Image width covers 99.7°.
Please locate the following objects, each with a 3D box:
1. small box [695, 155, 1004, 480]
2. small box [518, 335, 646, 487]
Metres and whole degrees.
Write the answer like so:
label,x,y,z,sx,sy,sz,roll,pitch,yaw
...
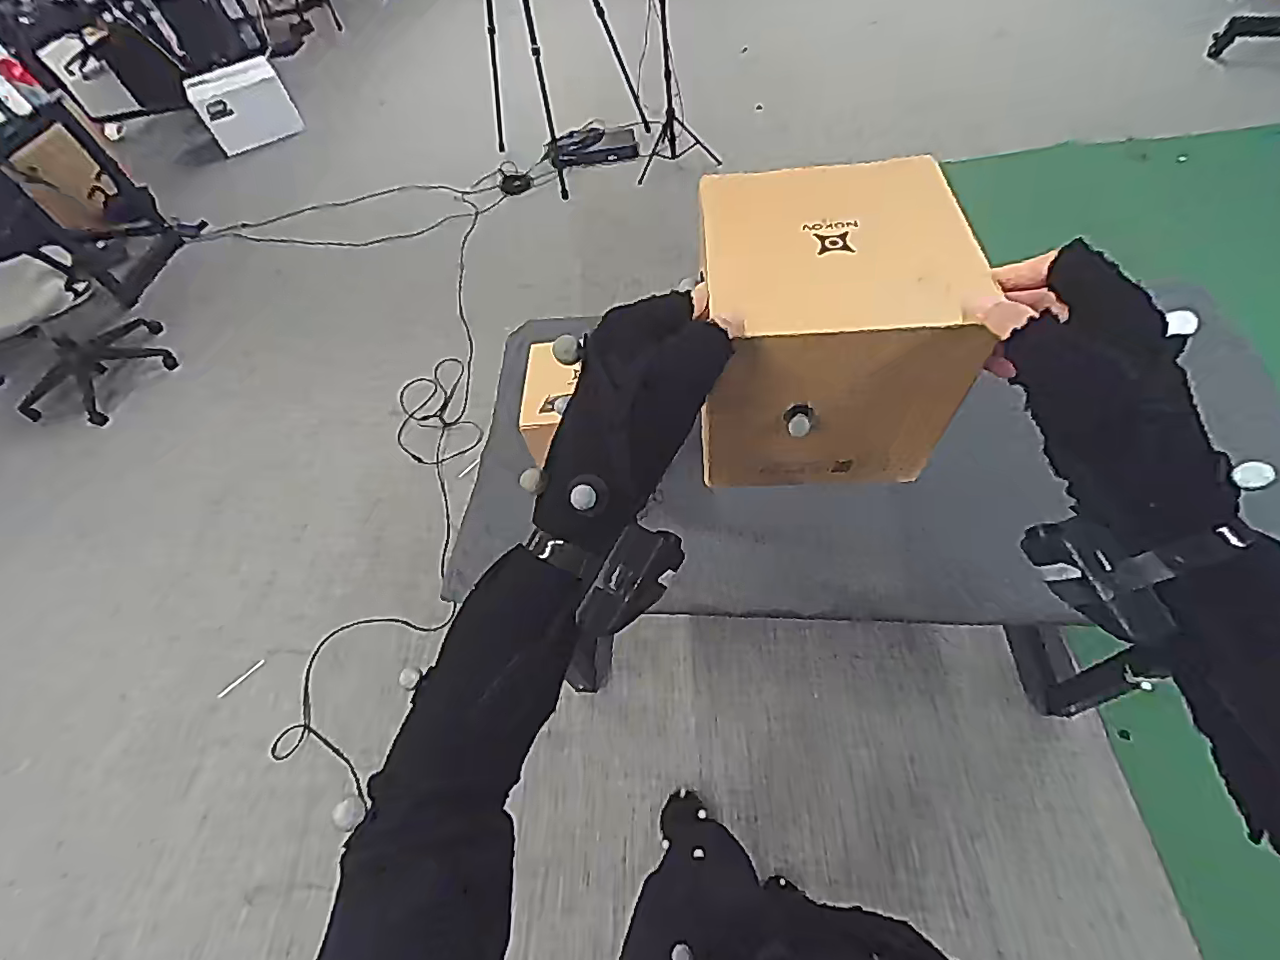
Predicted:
label,x,y,z,sx,sy,sz,roll,pitch,yaw
small box,0.128,-0.110,0.410,0.168,0.176,0.179,-2,56,6
small box,-0.080,-0.100,0.856,0.168,0.176,0.179,-4,54,5
